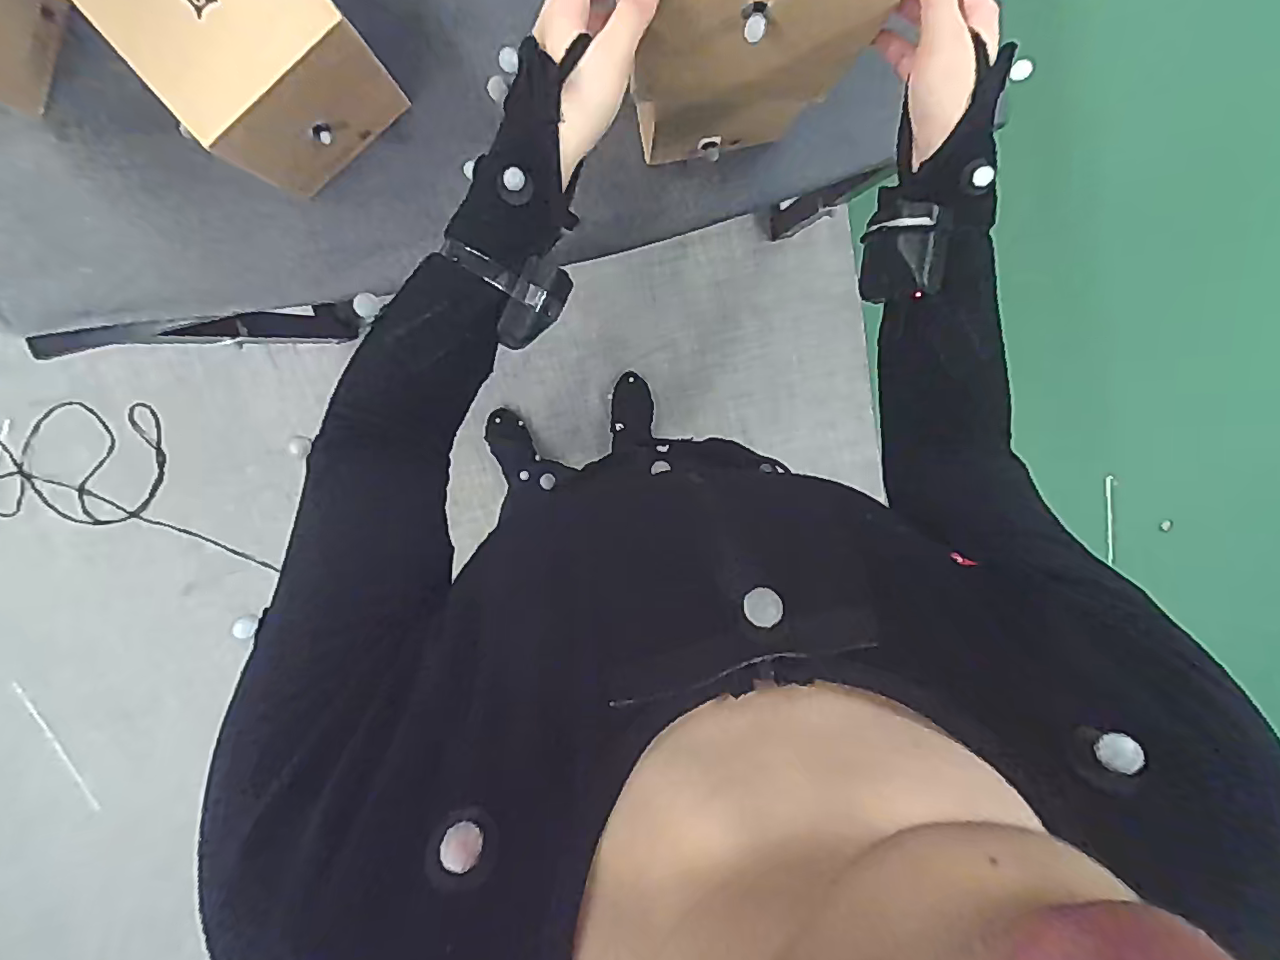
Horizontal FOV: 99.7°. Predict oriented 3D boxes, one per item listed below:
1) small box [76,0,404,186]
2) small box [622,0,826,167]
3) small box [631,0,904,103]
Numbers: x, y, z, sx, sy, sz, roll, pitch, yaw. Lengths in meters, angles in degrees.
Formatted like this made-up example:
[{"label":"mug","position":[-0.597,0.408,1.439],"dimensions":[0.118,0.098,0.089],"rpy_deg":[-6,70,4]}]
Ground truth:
[{"label":"small box","position":[-0.366,-0.417,0.521],"dimensions":[0.168,0.176,0.179],"rpy_deg":[-38,102,5]},{"label":"small box","position":[0.076,-0.447,0.539],"dimensions":[0.168,0.176,0.179],"rpy_deg":[-12,103,2]},{"label":"small box","position":[0.081,-0.397,0.384],"dimensions":[0.179,0.176,0.168],"rpy_deg":[-1,102,0]}]
